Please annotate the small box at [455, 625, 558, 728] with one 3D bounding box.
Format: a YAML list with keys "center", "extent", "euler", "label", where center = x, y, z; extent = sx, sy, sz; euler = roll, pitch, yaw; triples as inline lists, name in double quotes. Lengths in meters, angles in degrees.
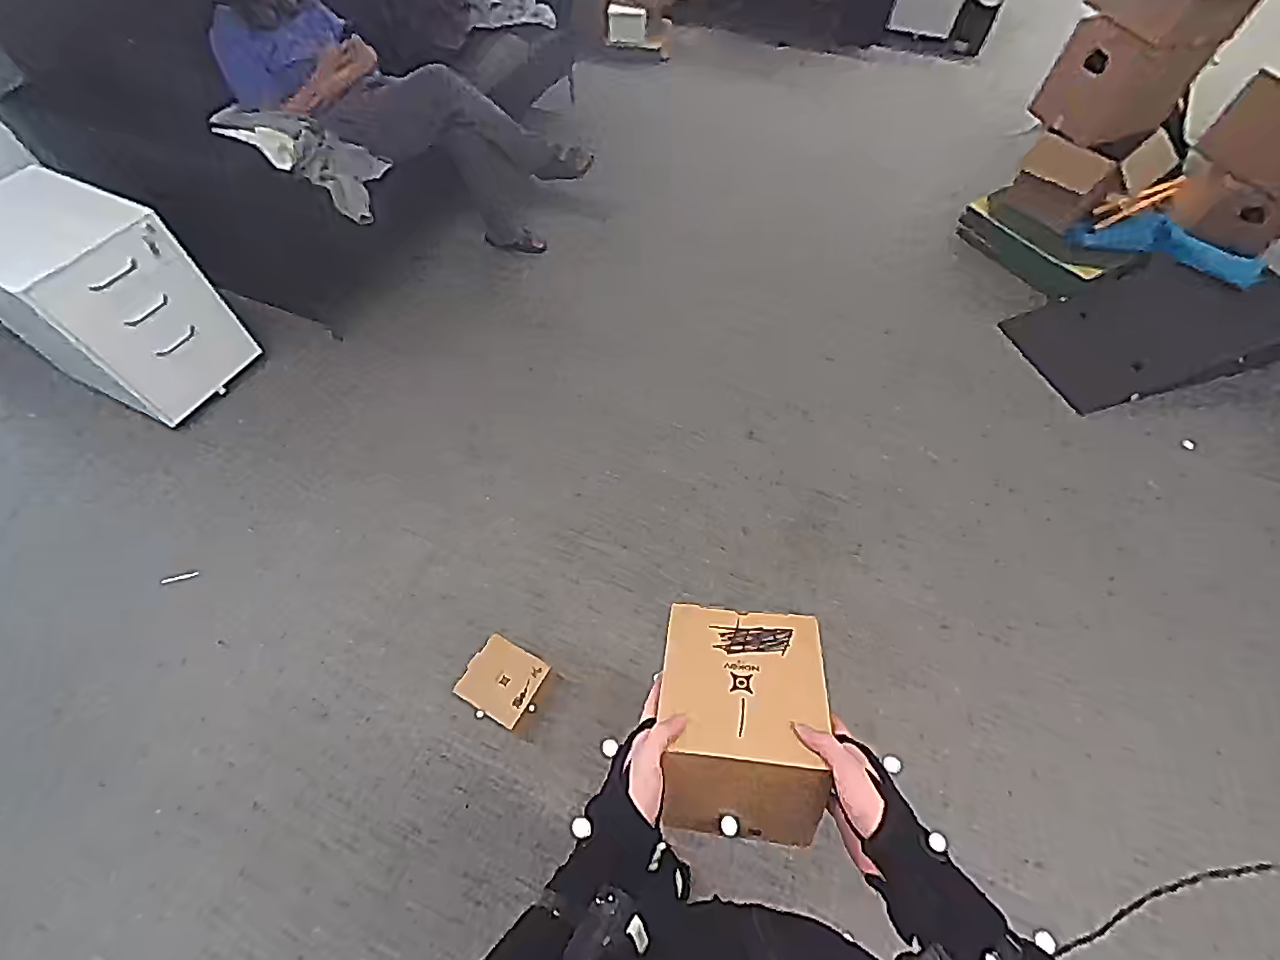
- center: [-0.329, 0.504, 1.368]
  extent: [0.179, 0.176, 0.168]
  euler: [26, 60, 15]
  label: "small box"

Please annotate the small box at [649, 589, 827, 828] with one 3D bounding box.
- center: [0.103, 0.249, 0.606]
  extent: [0.168, 0.176, 0.179]
  euler: [3, 37, 9]
  label: "small box"
